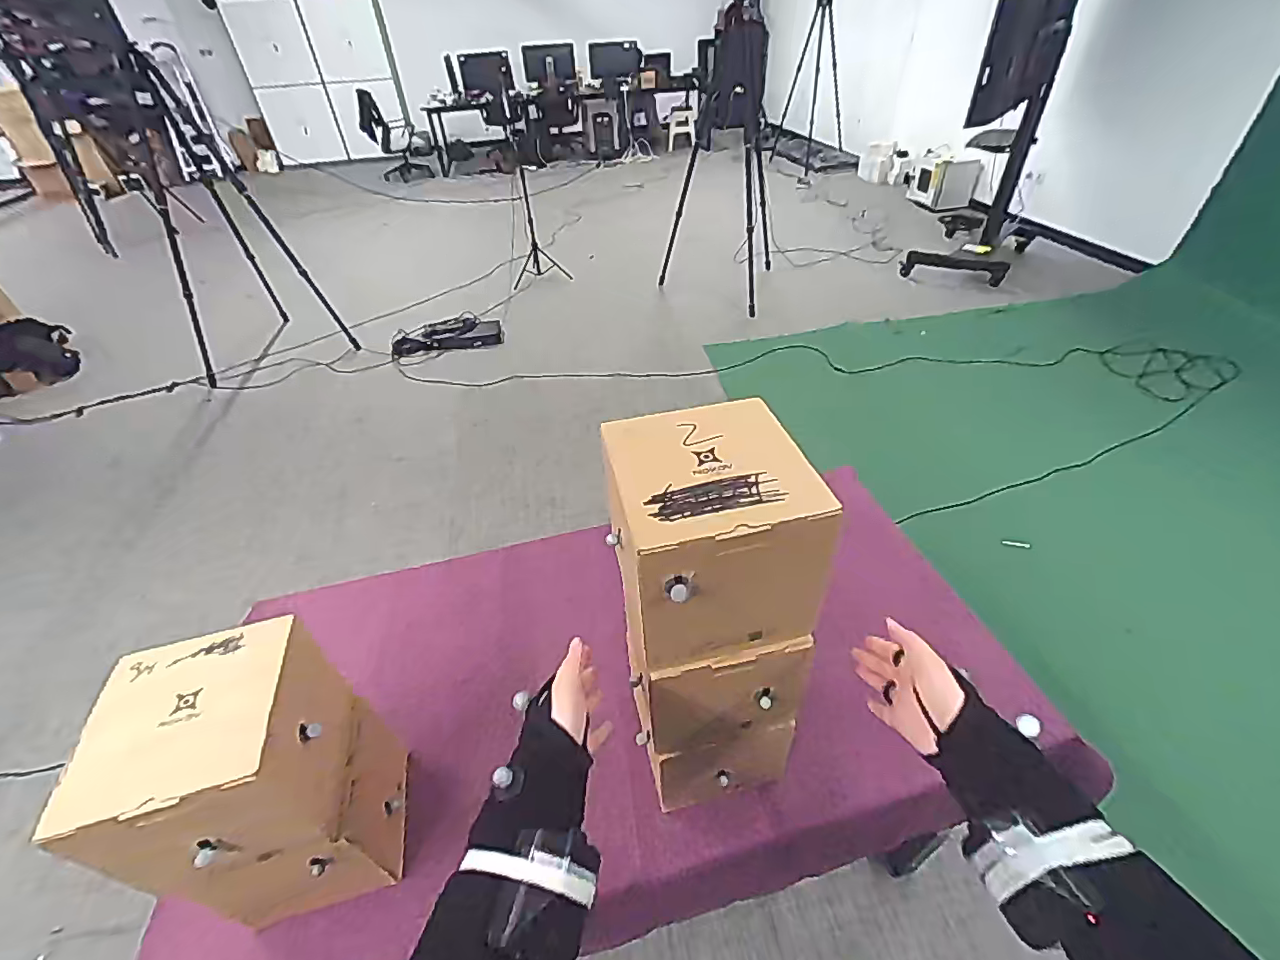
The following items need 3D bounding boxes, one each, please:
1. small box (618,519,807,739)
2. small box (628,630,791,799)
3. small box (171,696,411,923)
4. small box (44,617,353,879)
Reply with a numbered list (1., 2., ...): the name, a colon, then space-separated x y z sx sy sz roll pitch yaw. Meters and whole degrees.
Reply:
1. small box: 0.074 0.176 0.625 0.168 0.176 0.179 -10 40 -6
2. small box: 0.086 0.302 0.728 0.168 0.176 0.179 -11 41 -8
3. small box: -0.403 0.404 0.664 0.179 0.176 0.168 -13 41 -10
4. small box: -0.418 0.278 0.558 0.168 0.176 0.179 -13 41 -11
